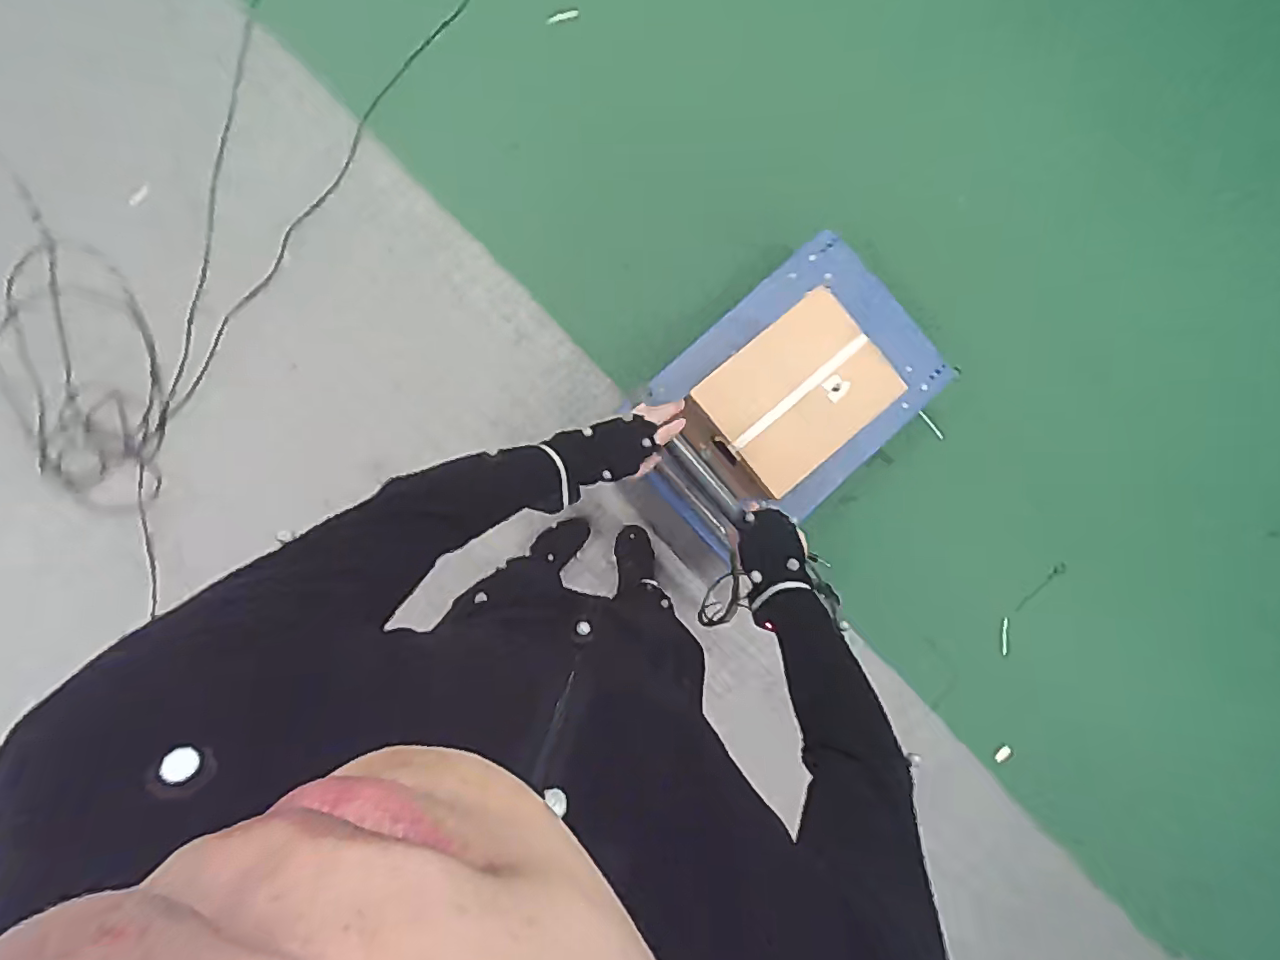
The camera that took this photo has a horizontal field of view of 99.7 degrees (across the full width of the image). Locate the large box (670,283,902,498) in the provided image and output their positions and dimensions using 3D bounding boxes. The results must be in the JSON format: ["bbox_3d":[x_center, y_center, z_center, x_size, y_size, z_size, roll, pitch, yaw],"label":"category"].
[{"bbox_3d":[0.335,-0.195,1.345,0.408,0.320,0.320,-39,93,-6],"label":"large box"}]
